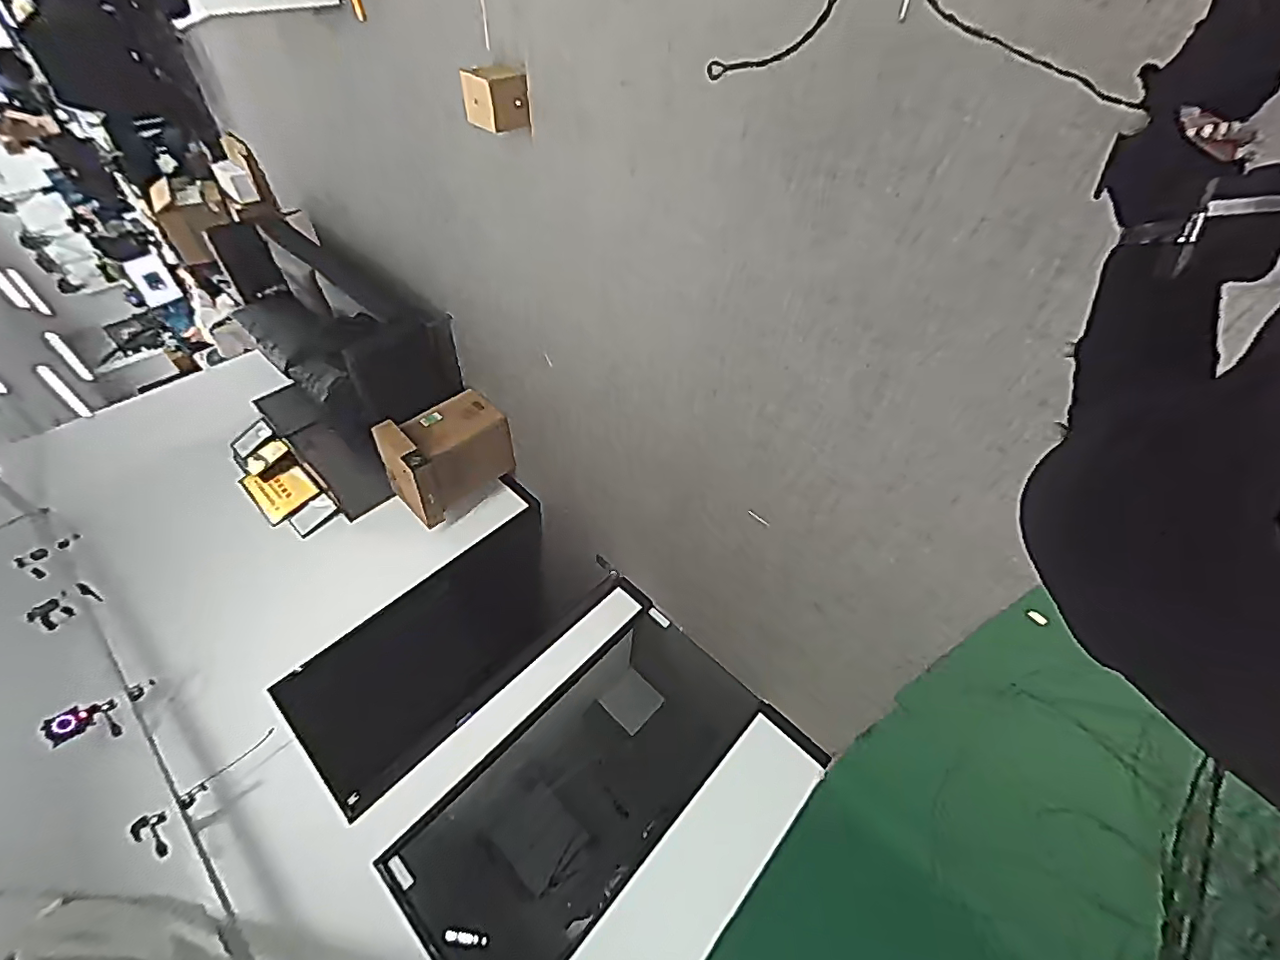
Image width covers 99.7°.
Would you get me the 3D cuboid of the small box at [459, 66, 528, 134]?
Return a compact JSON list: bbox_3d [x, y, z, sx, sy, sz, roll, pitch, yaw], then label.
[{"bbox_3d":[-0.539,-1.418,2.008,0.179,0.176,0.168,36,147,25],"label":"small box"}]
